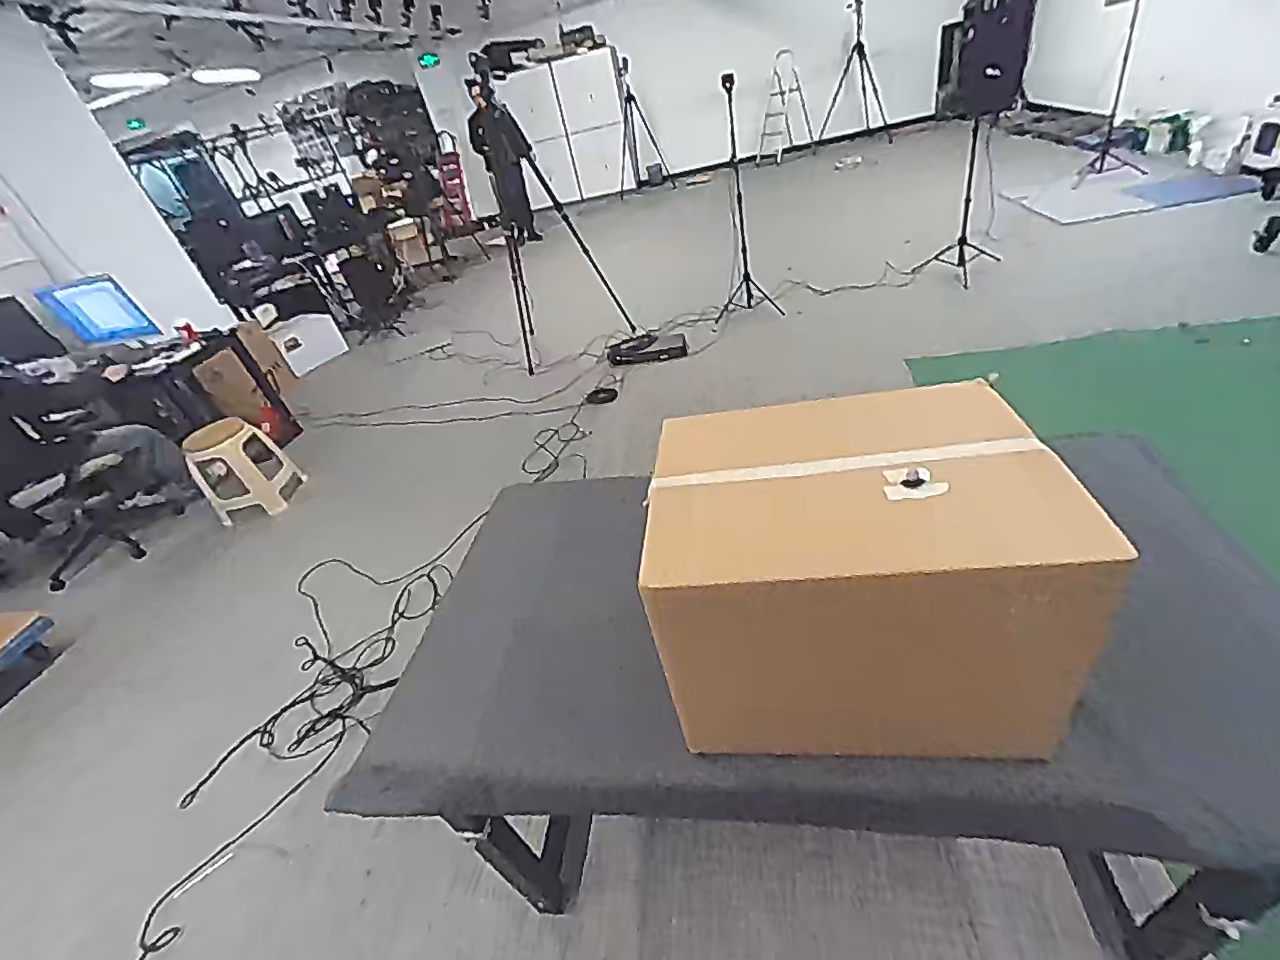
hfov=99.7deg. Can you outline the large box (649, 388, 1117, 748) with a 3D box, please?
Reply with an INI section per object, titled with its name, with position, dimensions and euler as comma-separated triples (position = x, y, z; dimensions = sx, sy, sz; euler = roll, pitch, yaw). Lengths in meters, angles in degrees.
[large box]
position = 0.240, 0.111, 0.680
dimensions = 0.408, 0.320, 0.320
euler = -5, 36, 11
